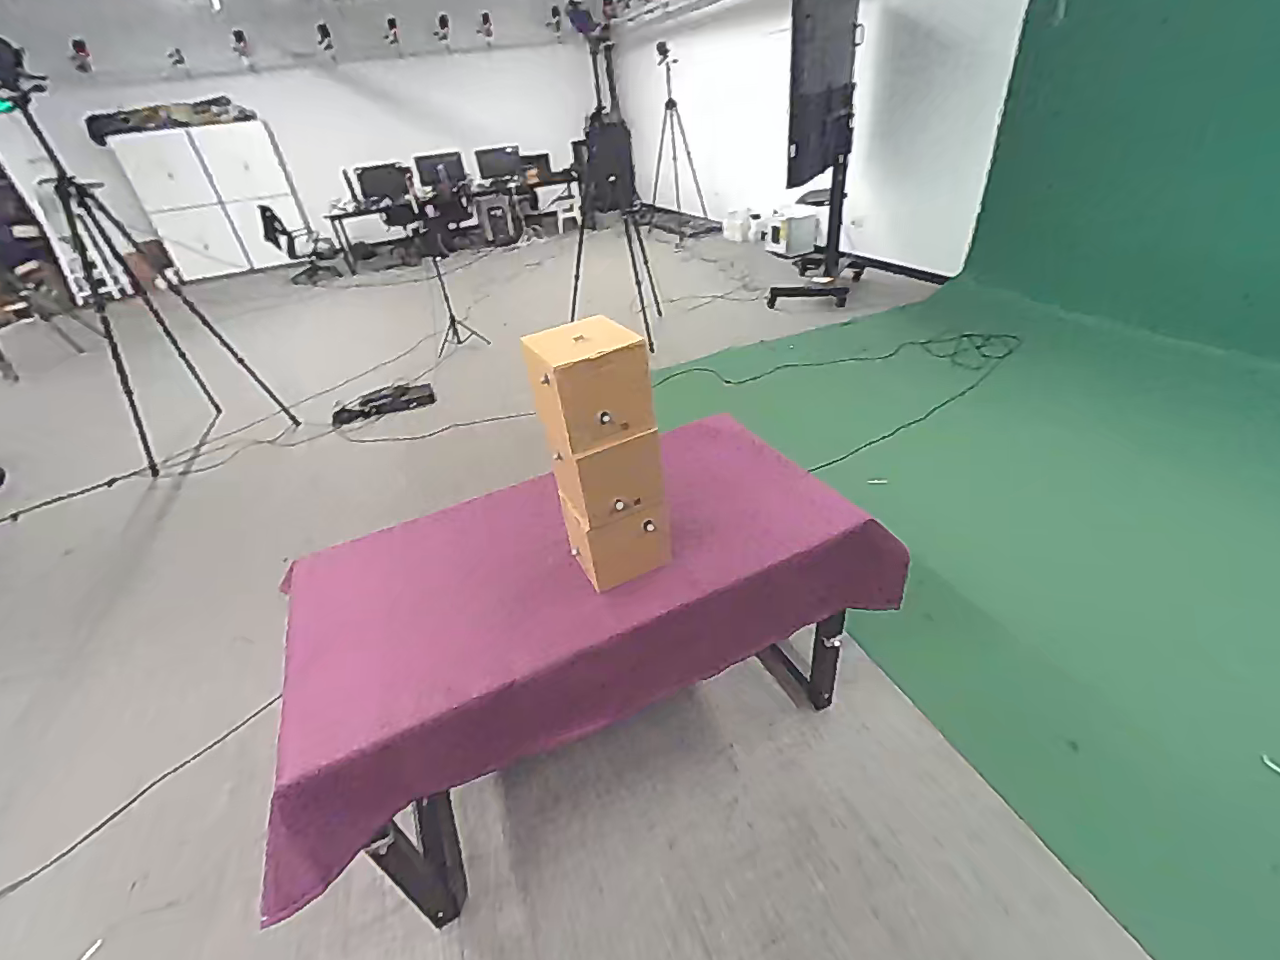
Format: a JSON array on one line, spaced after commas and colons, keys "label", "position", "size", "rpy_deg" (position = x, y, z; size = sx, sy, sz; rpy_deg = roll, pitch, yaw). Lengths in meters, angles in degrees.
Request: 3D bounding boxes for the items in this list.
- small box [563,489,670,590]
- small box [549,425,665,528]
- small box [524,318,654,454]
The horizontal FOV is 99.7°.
[{"label": "small box", "position": [-0.045, 0.098, 1.144], "size": [0.179, 0.176, 0.168], "rpy_deg": [-20, 36, -17]}, {"label": "small box", "position": [-0.065, -0.036, 1.052], "size": [0.168, 0.176, 0.179], "rpy_deg": [-22, 38, -18]}, {"label": "small box", "position": [-0.089, -0.170, 0.964], "size": [0.168, 0.176, 0.179], "rpy_deg": [-23, 38, -20]}]
